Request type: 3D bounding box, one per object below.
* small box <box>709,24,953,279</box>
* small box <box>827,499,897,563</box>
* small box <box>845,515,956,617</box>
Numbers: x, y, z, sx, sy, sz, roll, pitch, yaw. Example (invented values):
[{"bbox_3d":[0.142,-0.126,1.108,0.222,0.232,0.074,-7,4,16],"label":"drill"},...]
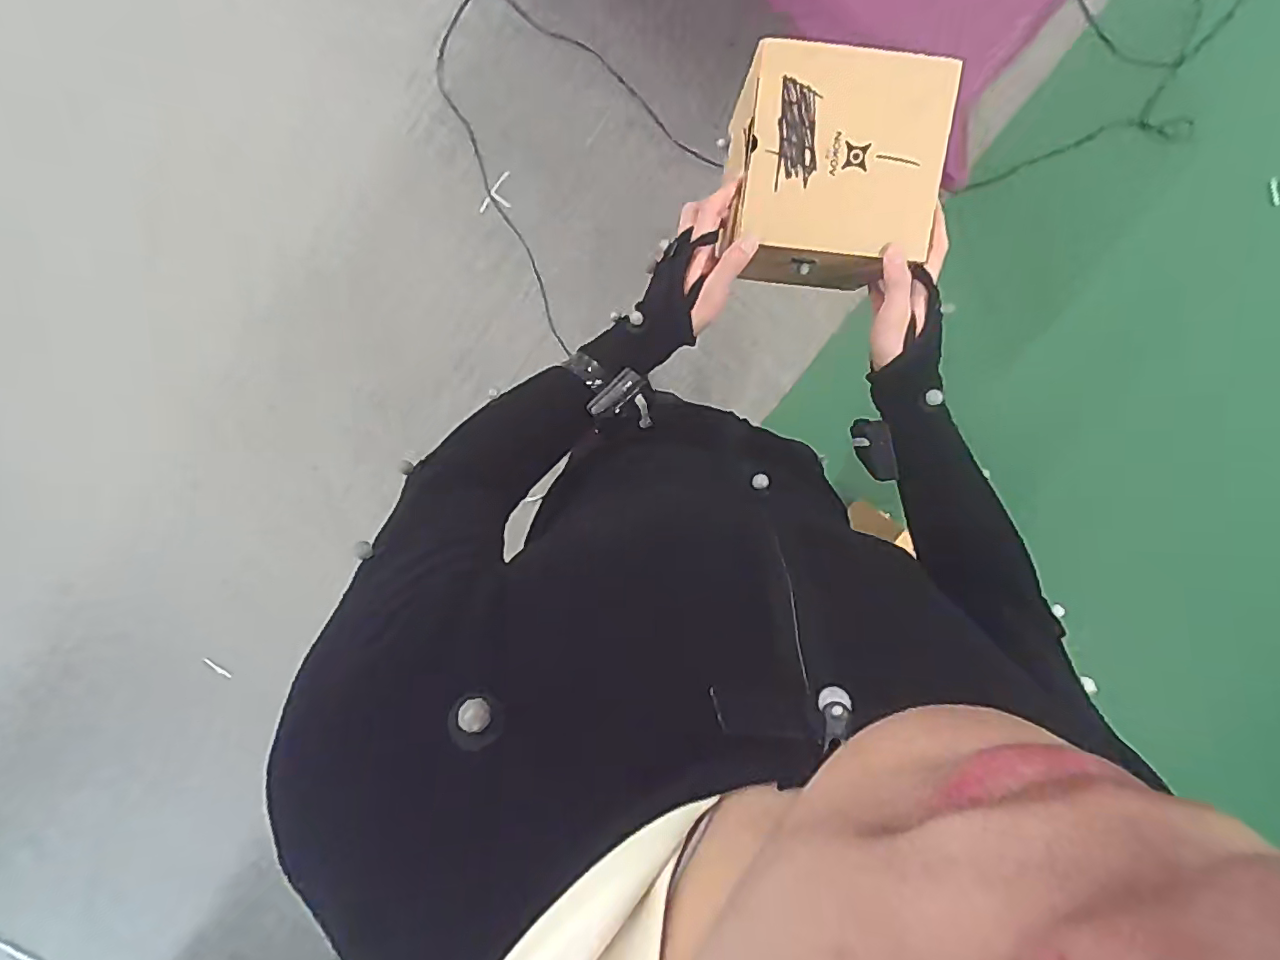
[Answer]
[{"bbox_3d":[0.170,-0.308,0.546,0.179,0.176,0.168,5,101,-2],"label":"small box"},{"bbox_3d":[0.669,0.181,1.567,0.168,0.176,0.179,38,99,-6],"label":"small box"},{"bbox_3d":[0.664,0.217,1.409,0.168,0.176,0.179,36,98,-5],"label":"small box"}]
